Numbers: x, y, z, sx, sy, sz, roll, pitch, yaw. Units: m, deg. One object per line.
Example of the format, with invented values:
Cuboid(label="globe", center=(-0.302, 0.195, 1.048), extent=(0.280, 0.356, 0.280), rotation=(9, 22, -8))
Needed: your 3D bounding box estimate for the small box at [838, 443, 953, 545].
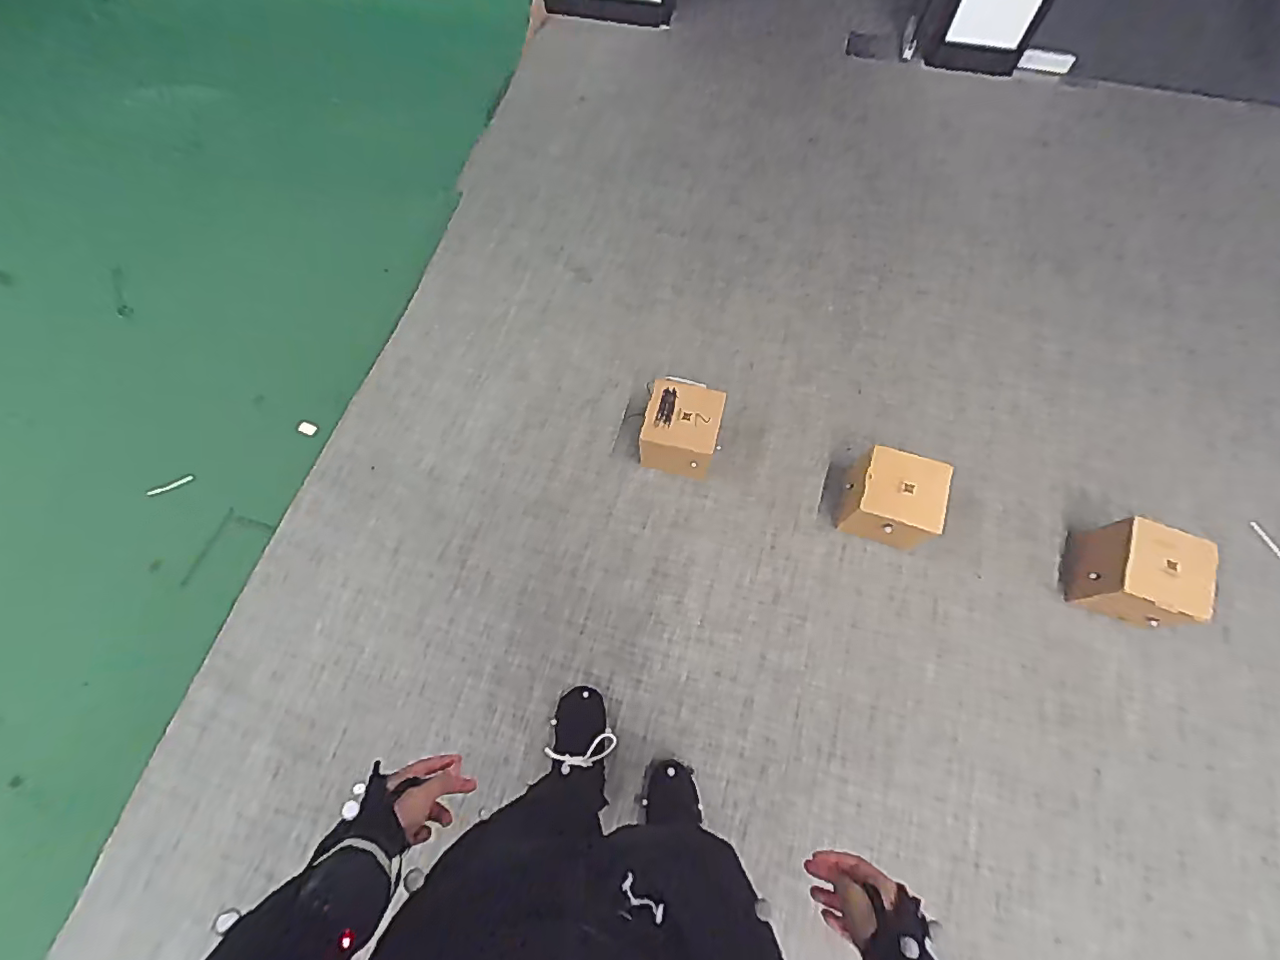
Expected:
Cuboid(label="small box", center=(0.581, 0.040, 1.244), extent=(0.179, 0.176, 0.168), rotation=(17, 72, 9))

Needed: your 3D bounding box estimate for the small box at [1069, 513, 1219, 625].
Cuboid(label="small box", center=(1.073, 0.199, 1.163), extent=(0.168, 0.176, 0.179), rotation=(22, 71, 9))
